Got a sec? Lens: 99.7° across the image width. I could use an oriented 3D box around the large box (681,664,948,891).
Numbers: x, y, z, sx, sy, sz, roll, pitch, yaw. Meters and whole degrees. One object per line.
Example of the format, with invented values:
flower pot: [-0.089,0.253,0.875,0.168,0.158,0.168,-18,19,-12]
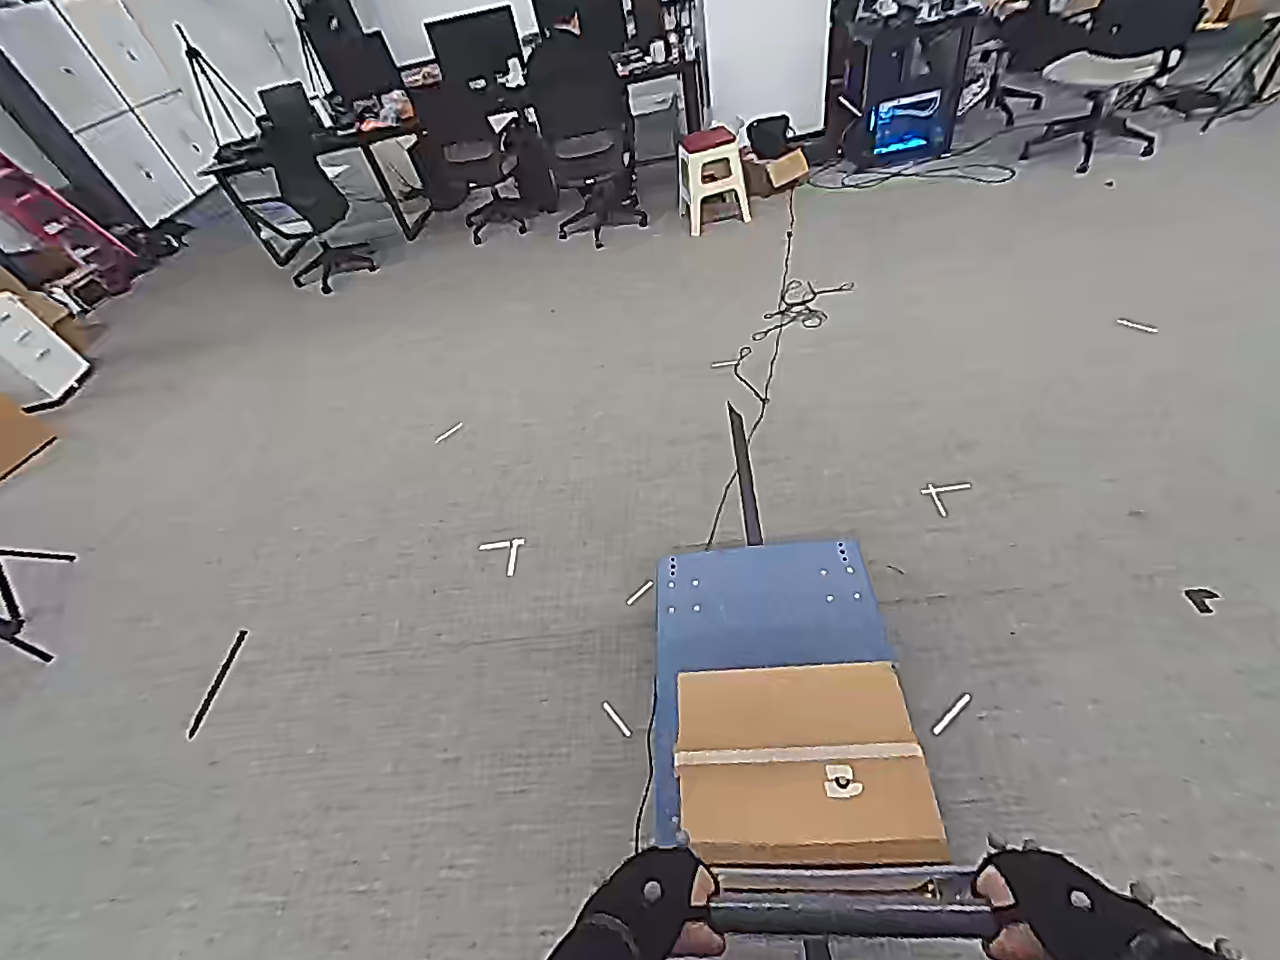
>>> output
large box: [0.299,0.582,1.050,0.408,0.320,0.320,-6,47,8]
